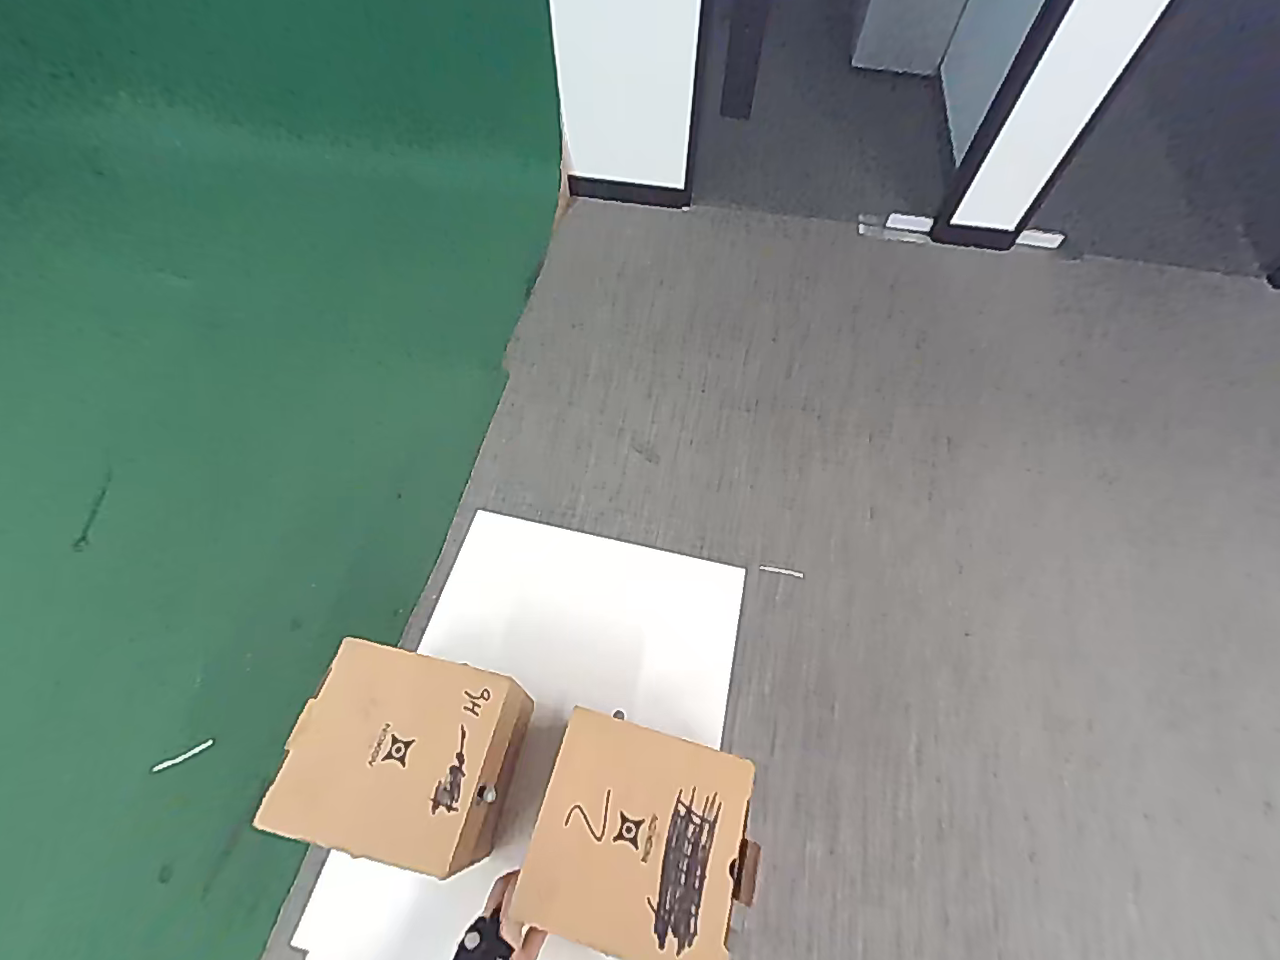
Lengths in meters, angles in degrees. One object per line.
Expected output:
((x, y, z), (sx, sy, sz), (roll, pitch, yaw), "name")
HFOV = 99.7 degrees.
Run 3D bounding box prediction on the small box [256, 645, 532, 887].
((-0.227, 0.289, 0.557), (0.179, 0.176, 0.168), (12, 60, 5), "small box")
